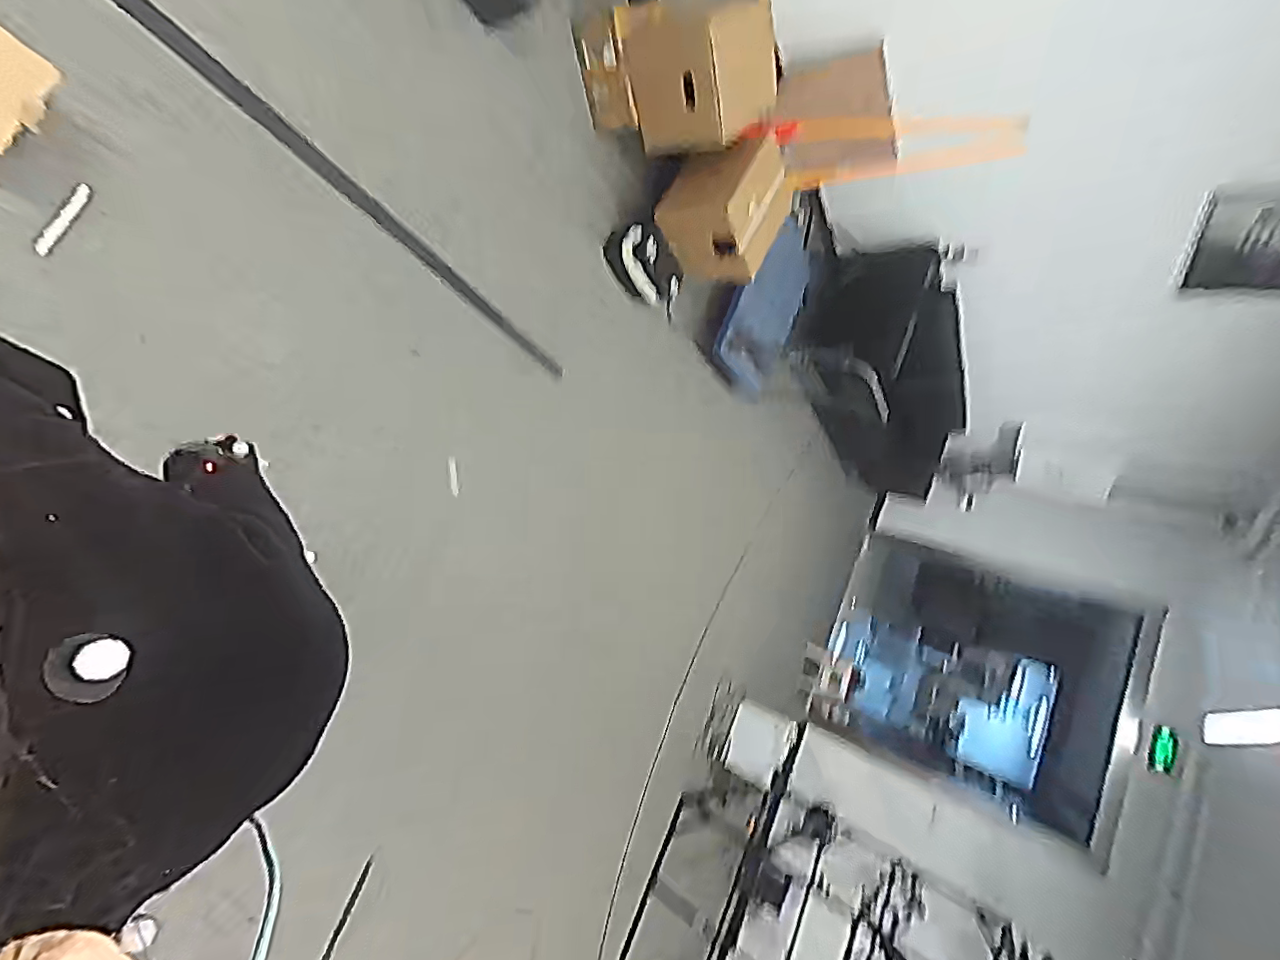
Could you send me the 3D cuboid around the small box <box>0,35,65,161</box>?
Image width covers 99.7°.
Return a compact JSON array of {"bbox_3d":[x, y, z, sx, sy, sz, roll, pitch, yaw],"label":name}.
[{"bbox_3d":[-1.050,-0.613,0.822,0.179,0.176,0.168,41,70,-52],"label":"small box"}]
